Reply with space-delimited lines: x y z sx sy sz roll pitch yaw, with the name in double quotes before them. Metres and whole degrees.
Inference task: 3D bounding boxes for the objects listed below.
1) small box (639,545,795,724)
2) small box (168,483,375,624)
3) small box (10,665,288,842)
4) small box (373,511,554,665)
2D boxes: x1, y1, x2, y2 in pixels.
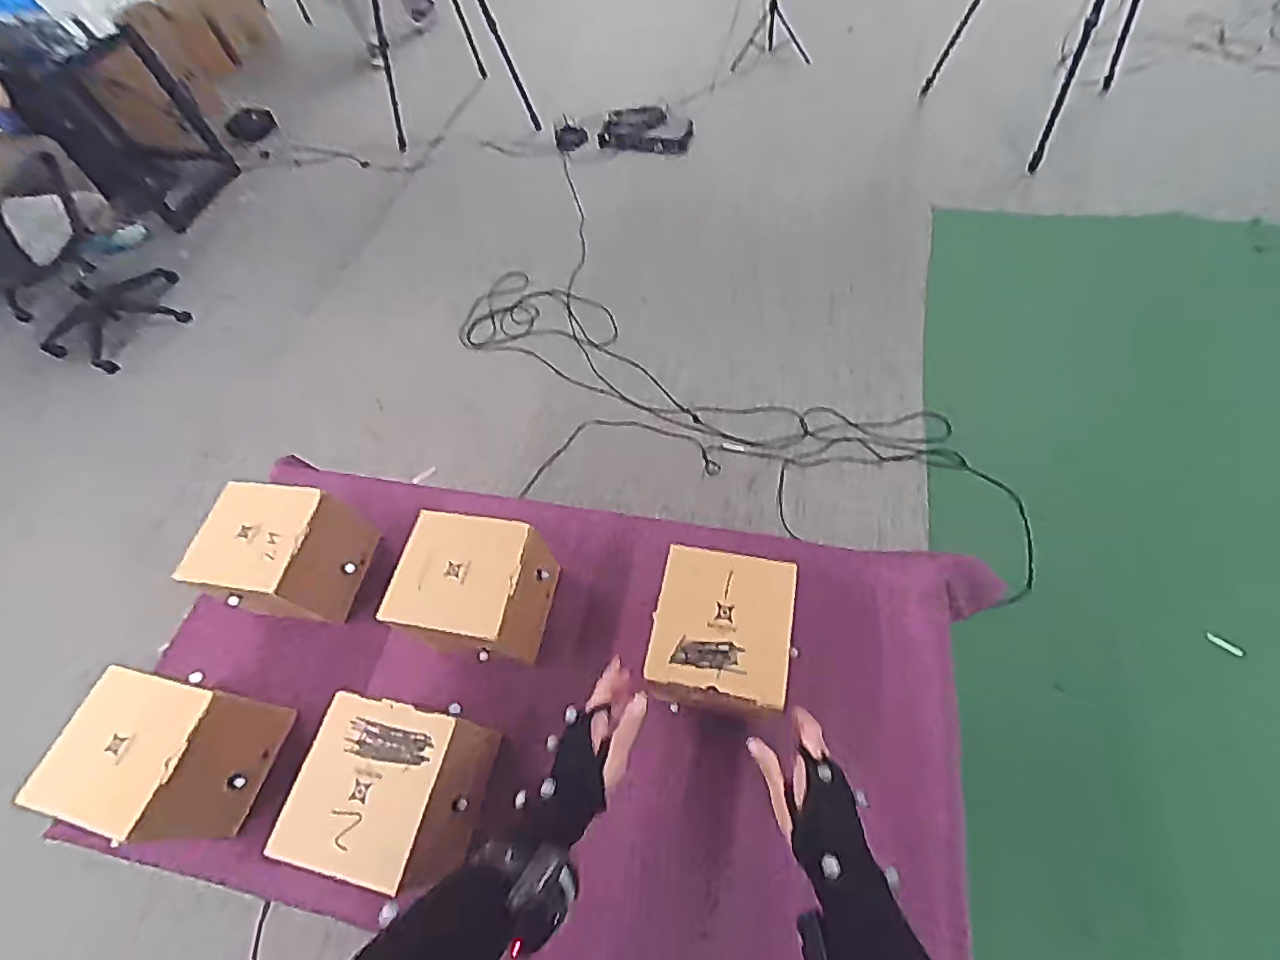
"small box" 0.106 0.210 0.717 0.168 0.176 0.179 8 60 13
"small box" -0.570 0.121 0.864 0.179 0.176 0.168 5 61 10
"small box" -0.634 0.368 0.725 0.179 0.176 0.168 8 59 12
"small box" -0.242 0.164 0.796 0.179 0.176 0.168 6 60 12
